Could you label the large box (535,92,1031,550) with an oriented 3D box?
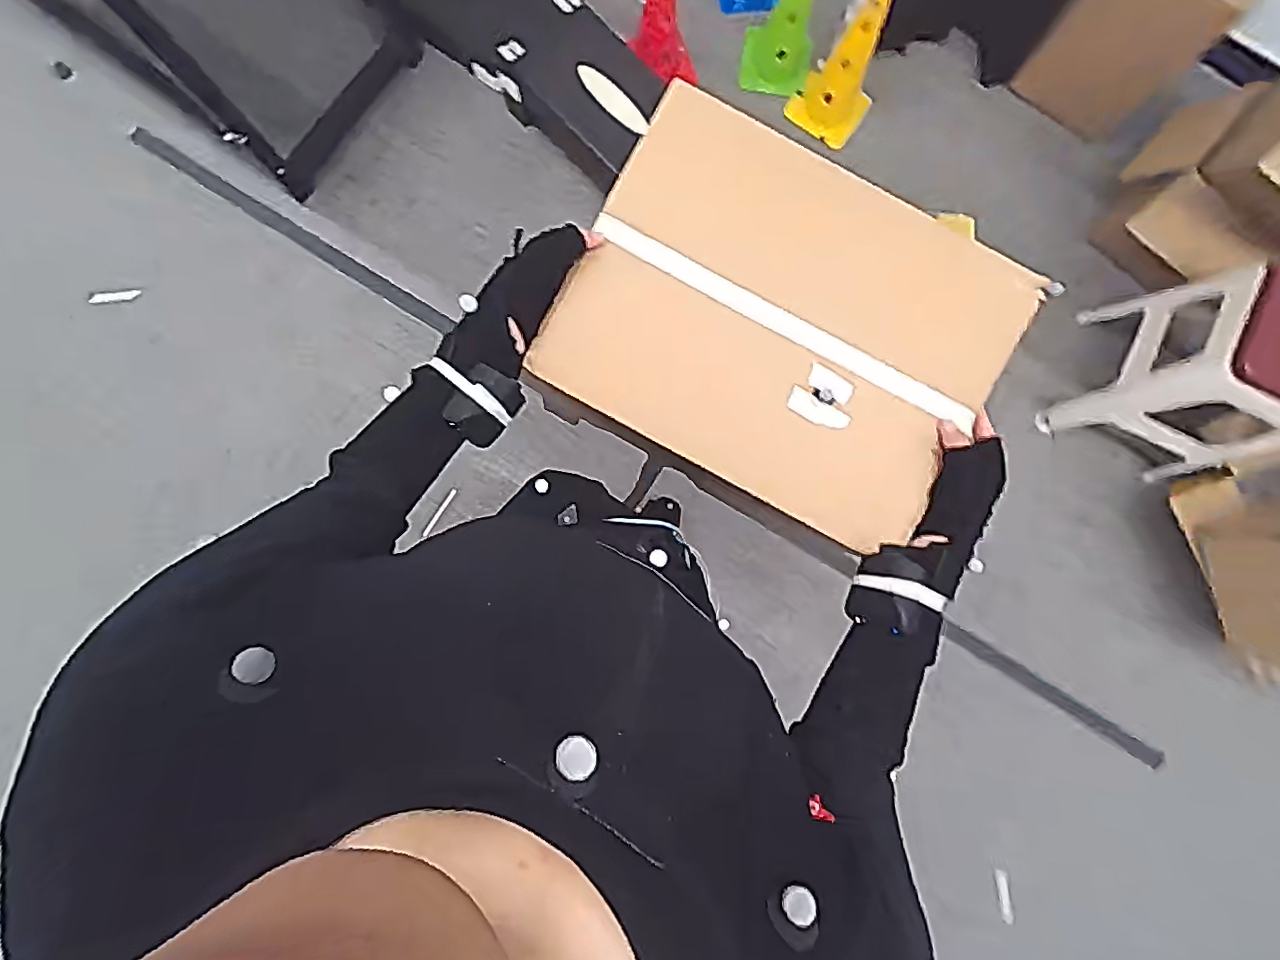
[{"bbox_3d":[0.137,-0.158,0.677,0.408,0.320,0.320,29,92,-1],"label":"large box"}]
